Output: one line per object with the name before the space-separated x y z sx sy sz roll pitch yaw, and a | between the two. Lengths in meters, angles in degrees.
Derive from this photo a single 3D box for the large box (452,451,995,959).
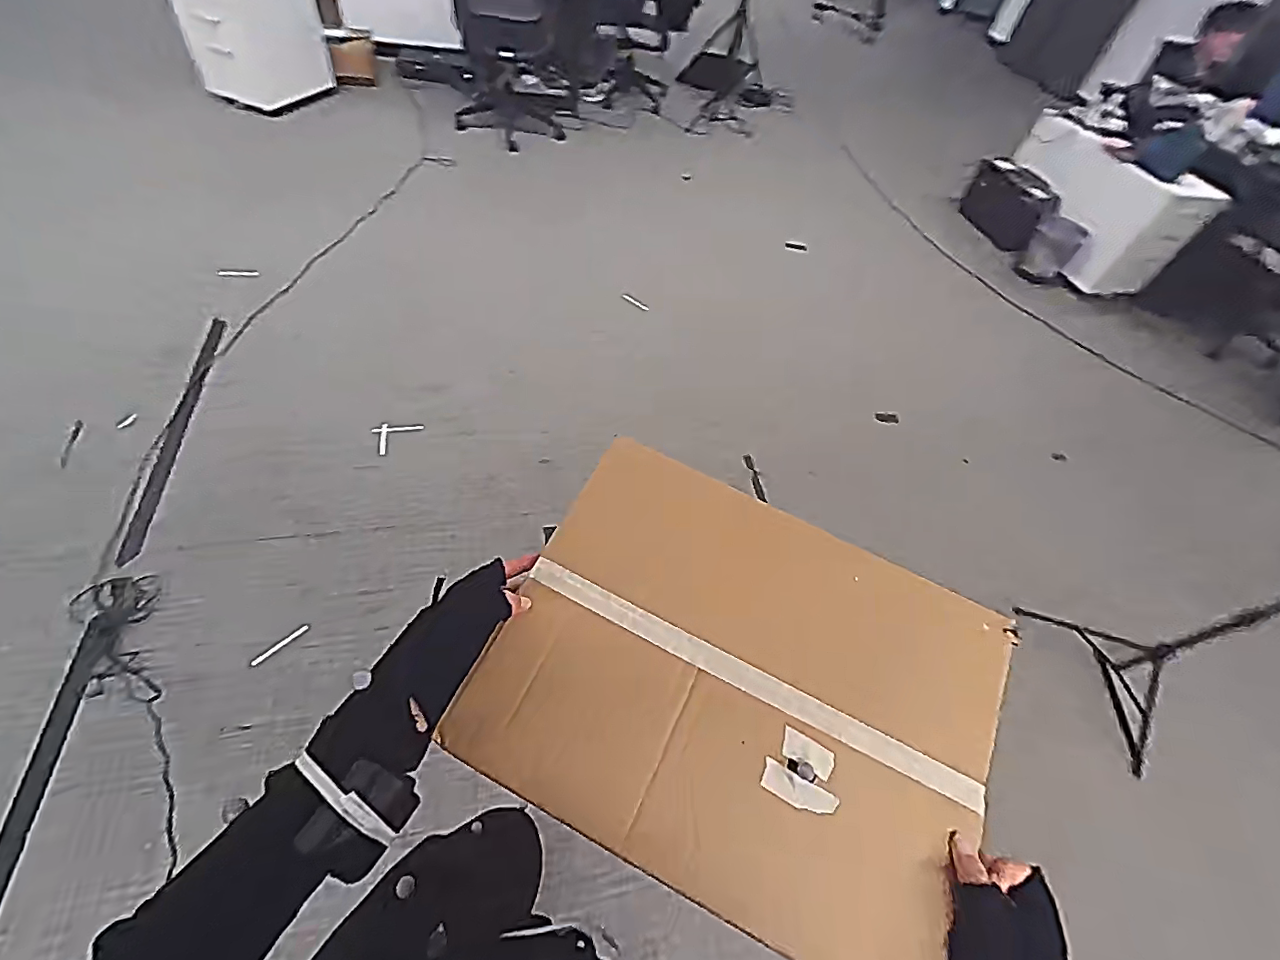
large box | 0.077 0.234 0.600 0.408 0.320 0.320 26 66 8
